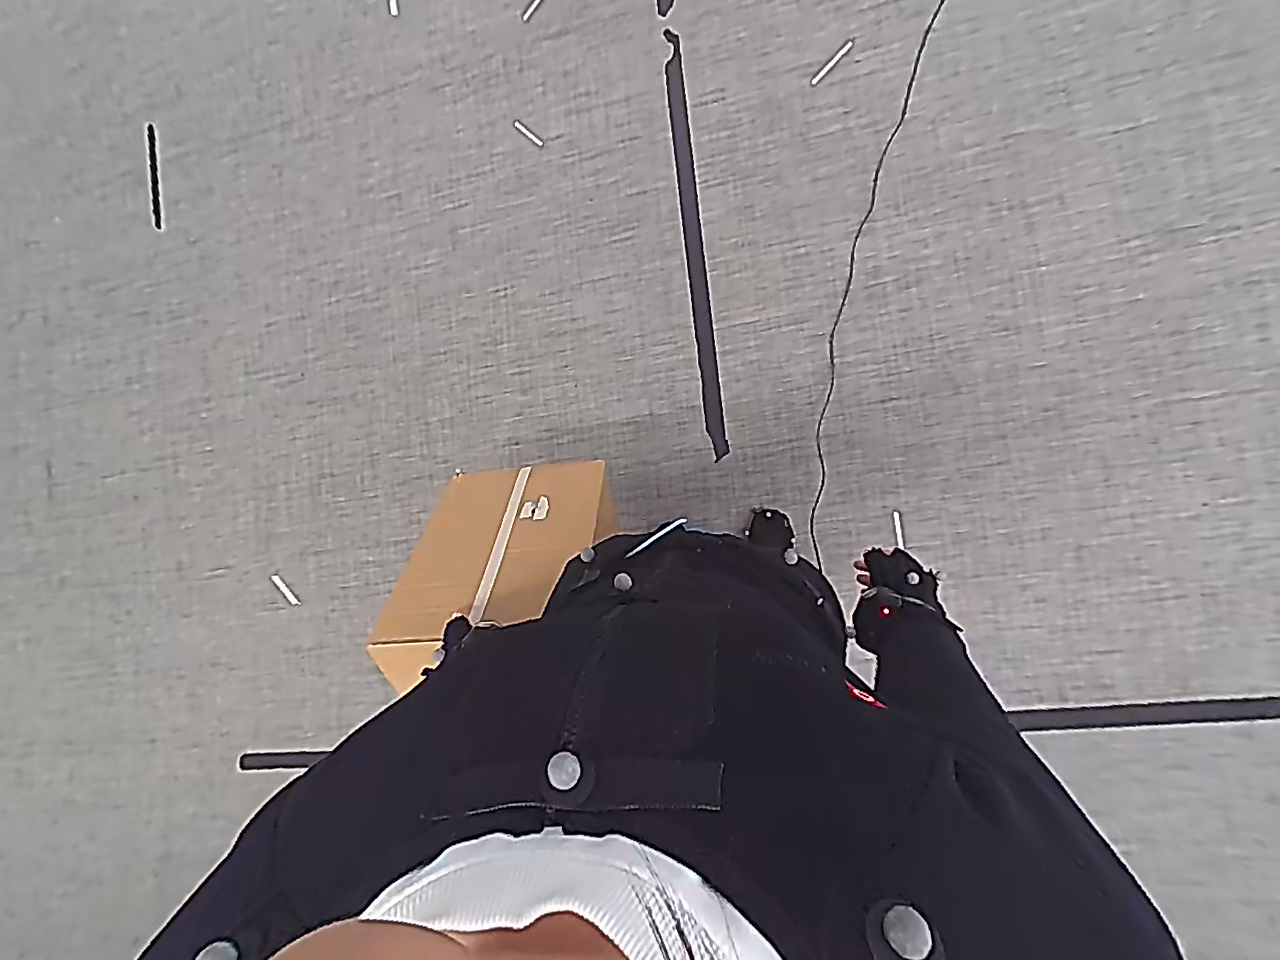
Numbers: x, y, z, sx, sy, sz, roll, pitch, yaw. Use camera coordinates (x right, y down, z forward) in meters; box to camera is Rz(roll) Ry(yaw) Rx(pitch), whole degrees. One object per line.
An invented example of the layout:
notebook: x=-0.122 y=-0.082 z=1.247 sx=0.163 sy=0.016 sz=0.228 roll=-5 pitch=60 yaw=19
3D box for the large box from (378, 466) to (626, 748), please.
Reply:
large box: x=-0.205 y=0.223 z=1.003 sx=0.320 sy=0.408 sz=0.320 roll=-4 pitch=126 yaw=6
